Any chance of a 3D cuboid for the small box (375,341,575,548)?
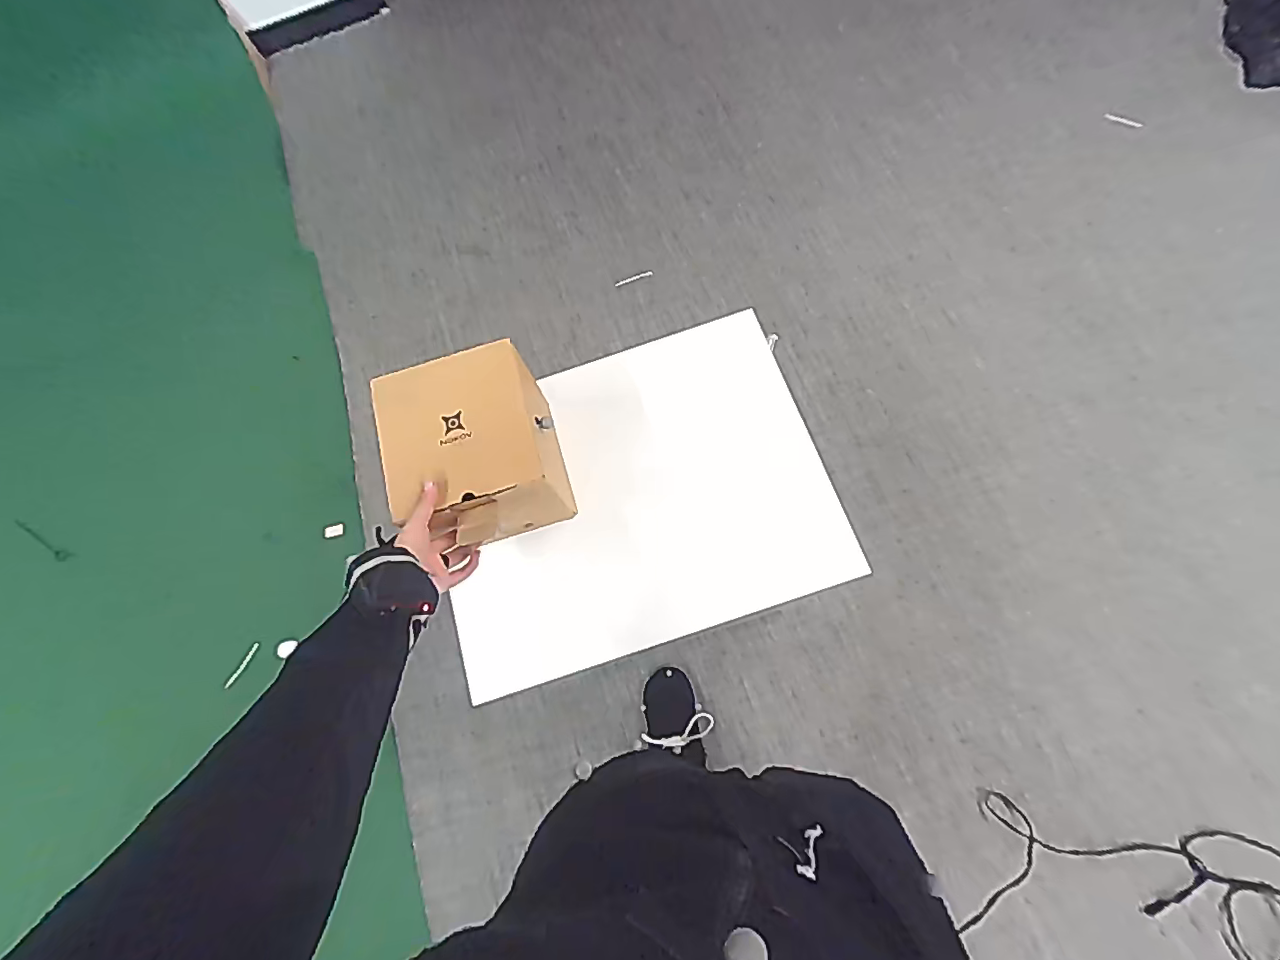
[{"bbox_3d":[-0.188,-0.033,0.653,0.168,0.176,0.179,-17,73,-1],"label":"small box"}]
